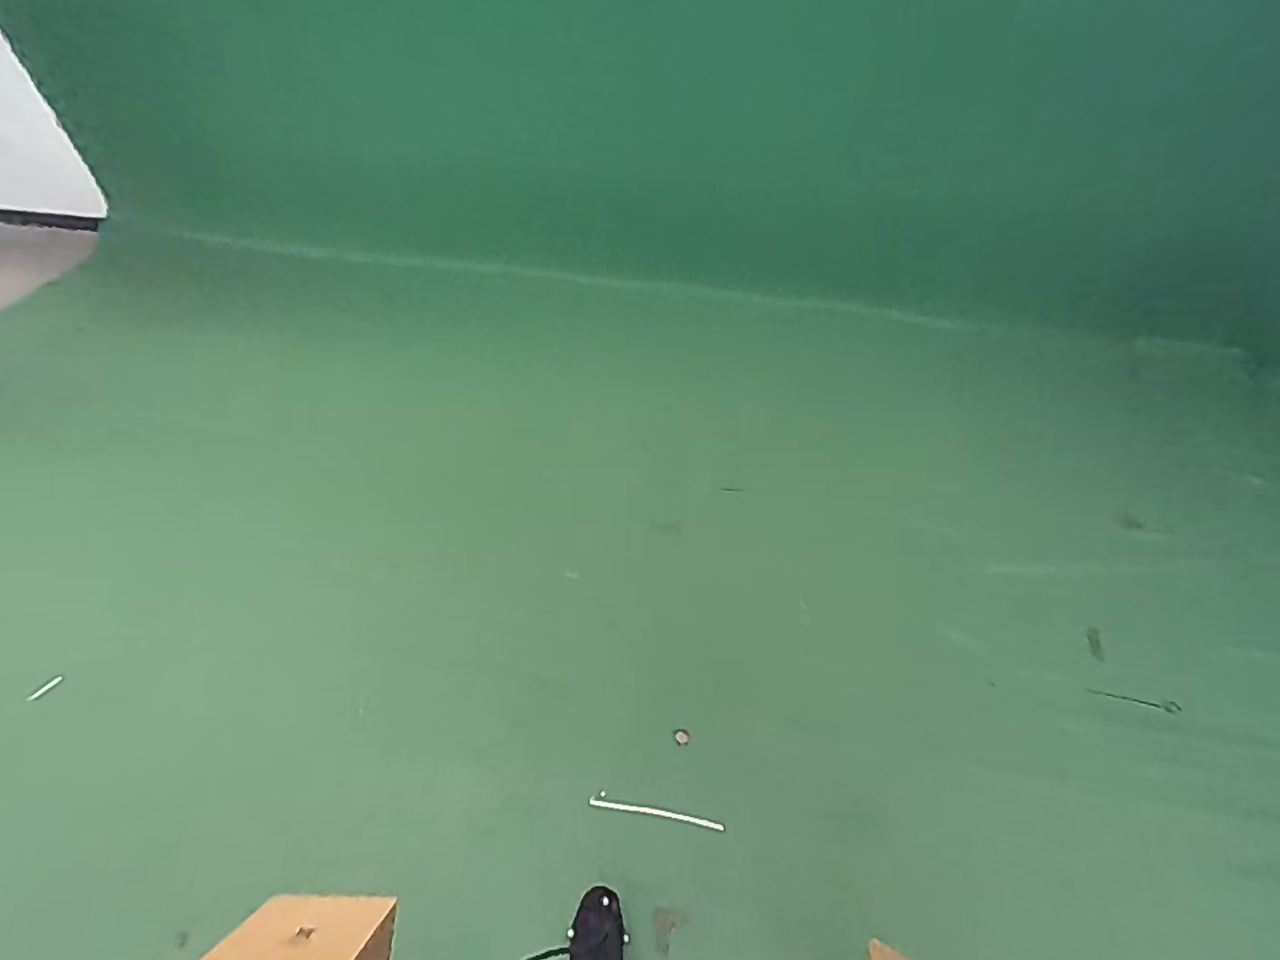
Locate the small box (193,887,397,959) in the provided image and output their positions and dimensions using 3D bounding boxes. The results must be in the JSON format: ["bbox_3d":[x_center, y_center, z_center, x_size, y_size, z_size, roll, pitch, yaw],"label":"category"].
[{"bbox_3d":[-0.413,0.623,0.637,0.168,0.179,0.176,4,77,-3],"label":"small box"}]
